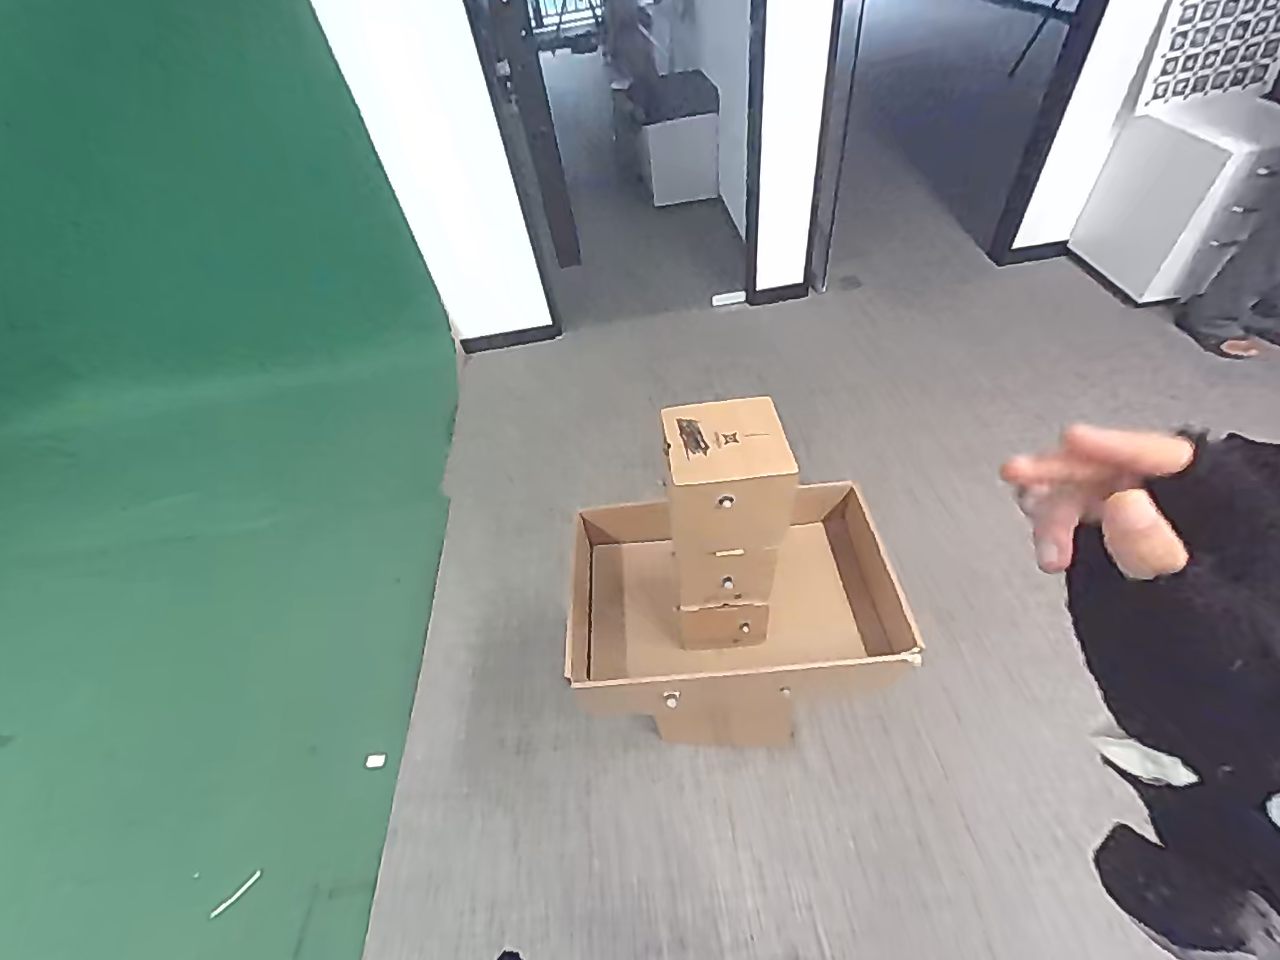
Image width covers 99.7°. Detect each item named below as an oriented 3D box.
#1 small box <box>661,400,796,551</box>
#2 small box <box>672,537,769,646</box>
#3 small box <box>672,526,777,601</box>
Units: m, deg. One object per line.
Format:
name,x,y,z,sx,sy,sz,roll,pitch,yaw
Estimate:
small box,0.131,-0.002,0.851,0.179,0.176,0.168,-6,48,0
small box,0.158,0.222,1.091,0.168,0.176,0.179,-6,46,1
small box,0.144,0.106,0.975,0.168,0.176,0.179,-5,49,2
